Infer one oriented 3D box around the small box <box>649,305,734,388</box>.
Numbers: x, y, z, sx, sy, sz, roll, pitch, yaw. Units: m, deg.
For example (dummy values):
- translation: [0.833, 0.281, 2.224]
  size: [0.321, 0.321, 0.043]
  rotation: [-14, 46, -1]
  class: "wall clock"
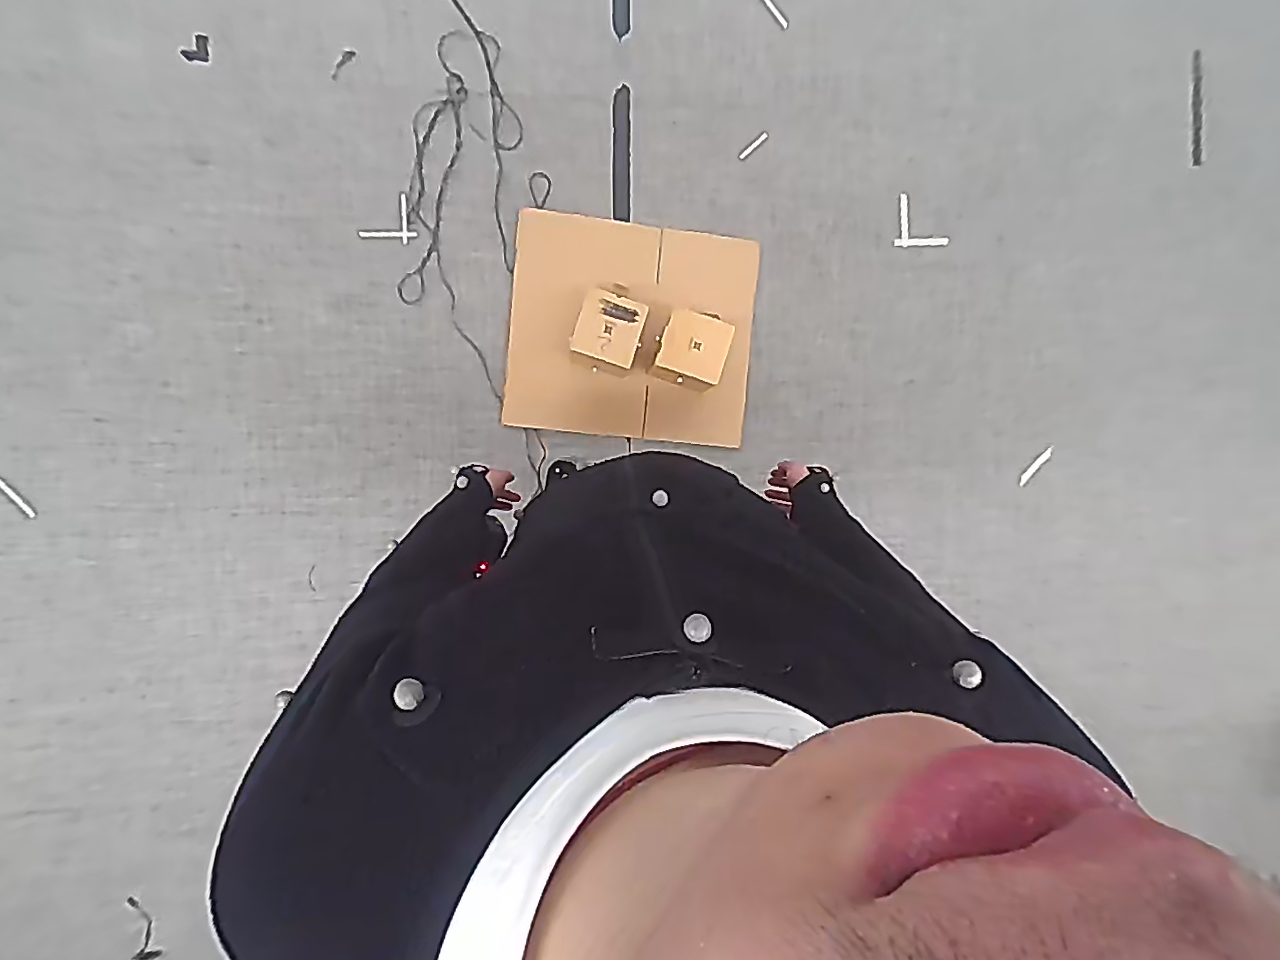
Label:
- translation: [0.137, -0.363, 1.505]
  size: [0.179, 0.176, 0.168]
  rotation: [18, 90, -6]
  class: "small box"
